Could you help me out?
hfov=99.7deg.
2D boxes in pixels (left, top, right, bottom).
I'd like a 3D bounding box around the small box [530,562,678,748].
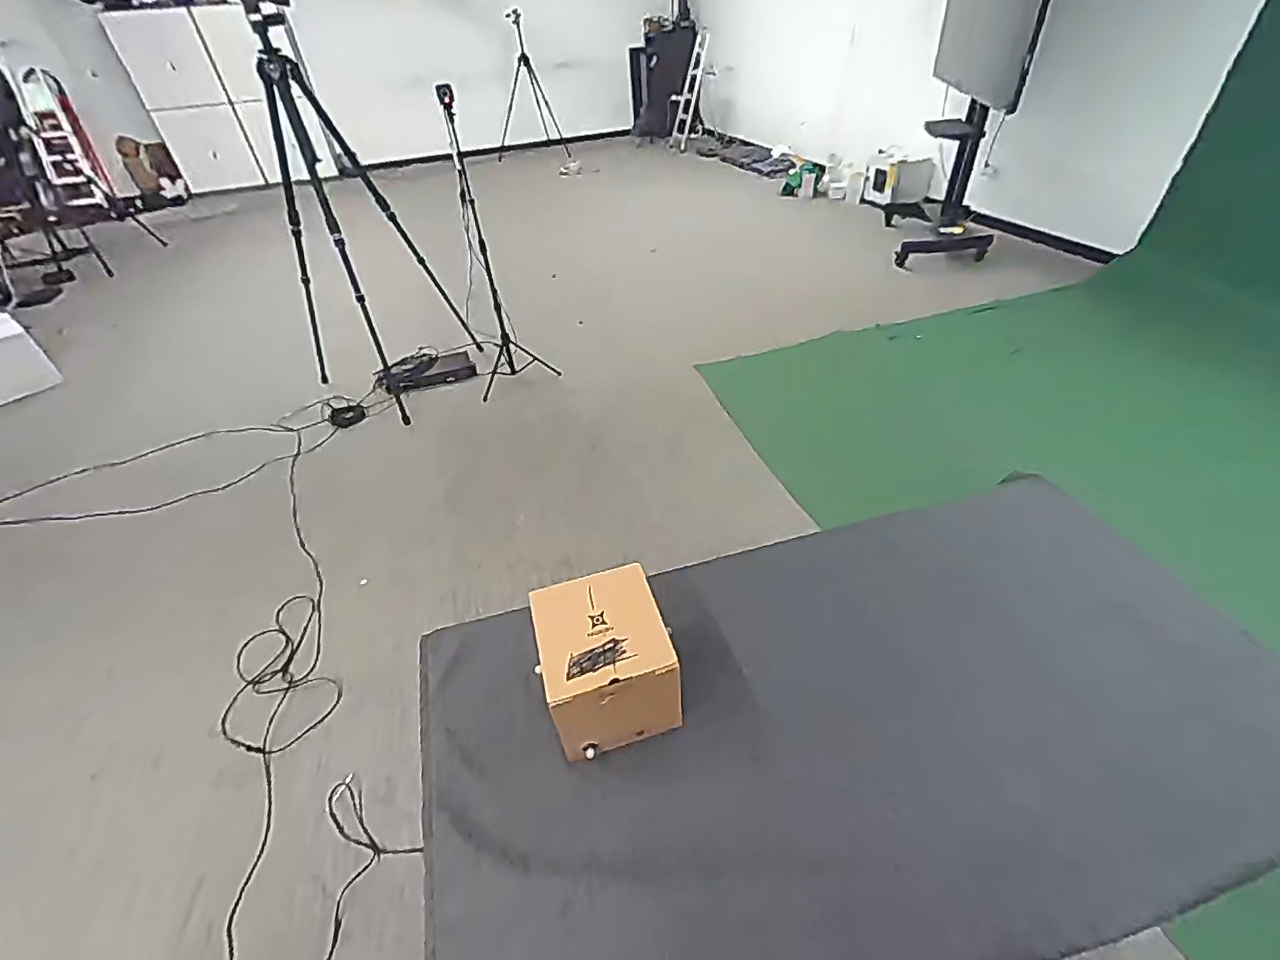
[{"bbox_3d":[-0.048,0.250,0.762,0.168,0.176,0.179,-14,42,-10],"label":"small box"}]
